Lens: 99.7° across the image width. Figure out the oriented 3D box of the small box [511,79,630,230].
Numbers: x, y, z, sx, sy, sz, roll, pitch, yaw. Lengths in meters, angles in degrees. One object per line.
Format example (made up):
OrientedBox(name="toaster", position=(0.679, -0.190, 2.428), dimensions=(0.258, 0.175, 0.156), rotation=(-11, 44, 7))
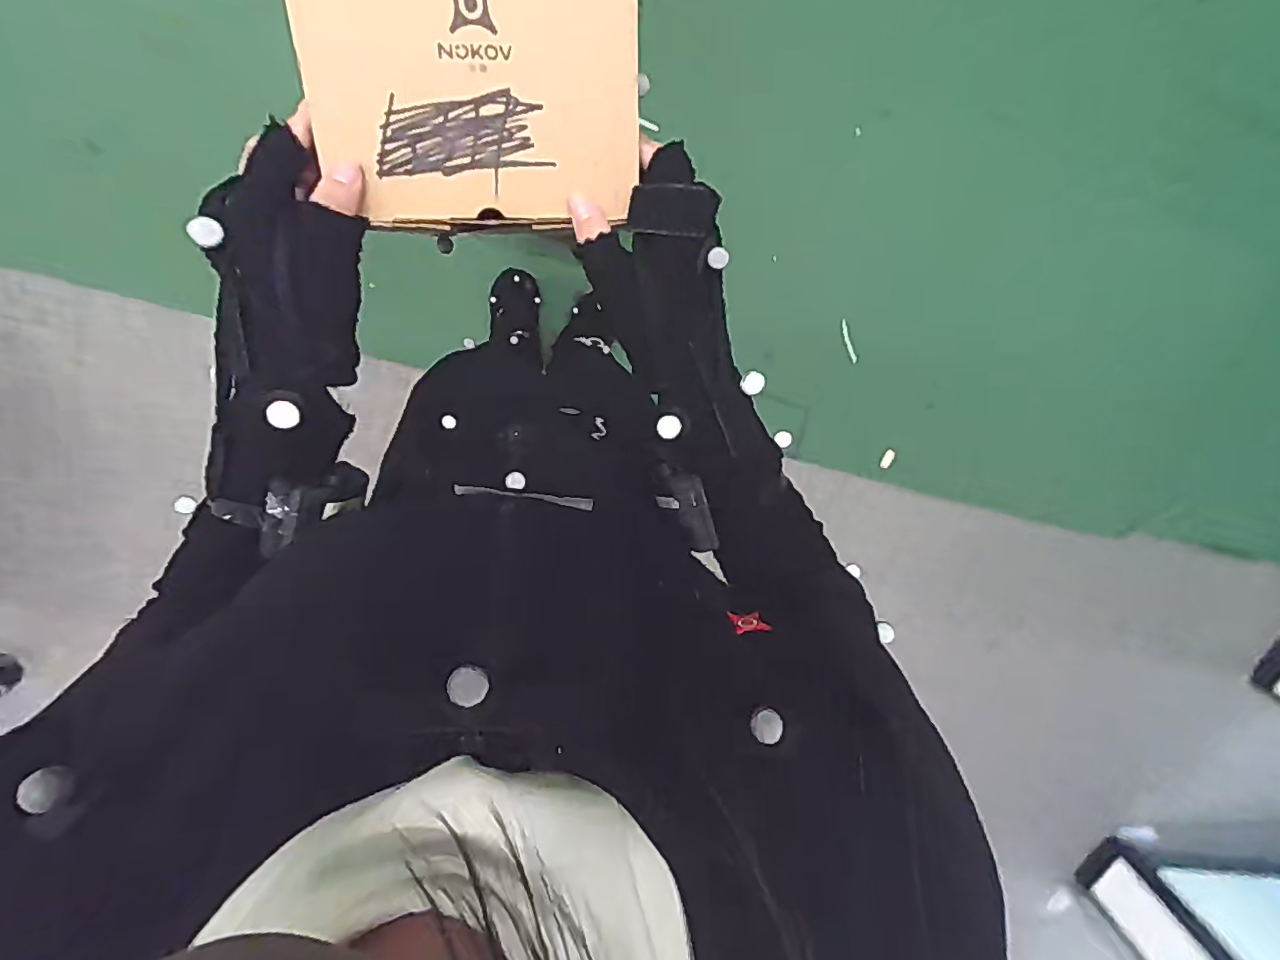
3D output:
OrientedBox(name="small box", position=(-0.125, -0.568, 0.970), dimensions=(0.168, 0.176, 0.179), rotation=(14, 111, -11))
